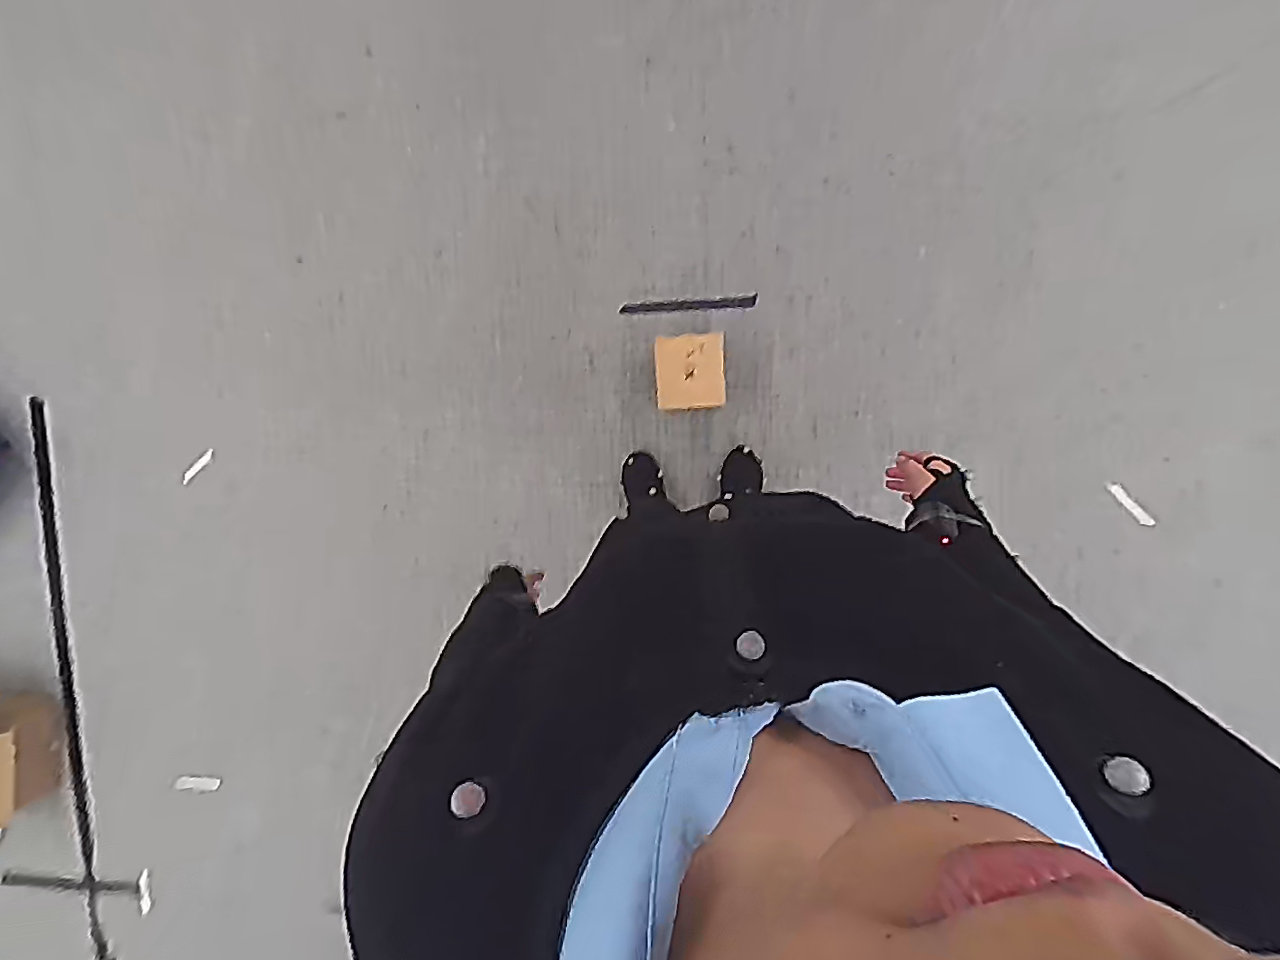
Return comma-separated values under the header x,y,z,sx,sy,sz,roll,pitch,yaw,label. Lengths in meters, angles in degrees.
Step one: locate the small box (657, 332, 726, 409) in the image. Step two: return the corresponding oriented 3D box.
x,y,z,sx,sy,sz,roll,pitch,yaw,label
0.133,-0.273,1.381,0.168,0.176,0.179,-3,95,6,small box
